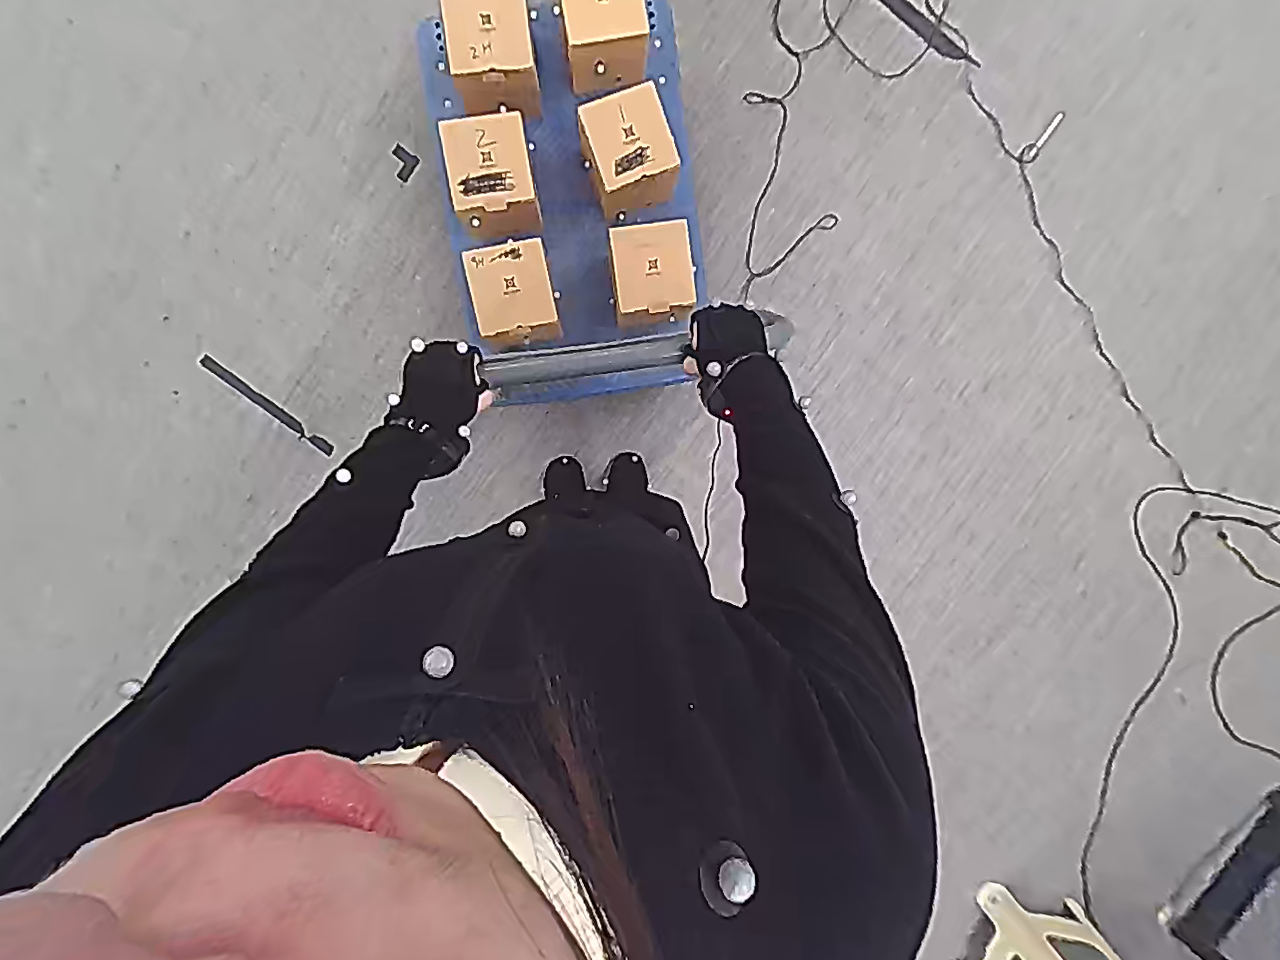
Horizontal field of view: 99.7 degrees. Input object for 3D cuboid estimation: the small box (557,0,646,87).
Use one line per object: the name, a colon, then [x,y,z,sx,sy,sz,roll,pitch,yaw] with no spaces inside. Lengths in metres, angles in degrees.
small box: [-0.084,-0.973,1.148,0.168,0.176,0.179,-11,96,-3]

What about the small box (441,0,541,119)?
small box: [-0.308,-0.901,1.137,0.168,0.176,0.179,-7,97,-3]

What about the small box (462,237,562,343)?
small box: [-0.271,-0.406,1.189,0.168,0.176,0.179,-12,97,-4]

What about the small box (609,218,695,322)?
small box: [0.022,-0.456,1.206,0.168,0.176,0.179,-8,95,-4]

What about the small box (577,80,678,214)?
small box: [-0.028,-0.707,1.177,0.168,0.176,0.179,-20,95,-2]
